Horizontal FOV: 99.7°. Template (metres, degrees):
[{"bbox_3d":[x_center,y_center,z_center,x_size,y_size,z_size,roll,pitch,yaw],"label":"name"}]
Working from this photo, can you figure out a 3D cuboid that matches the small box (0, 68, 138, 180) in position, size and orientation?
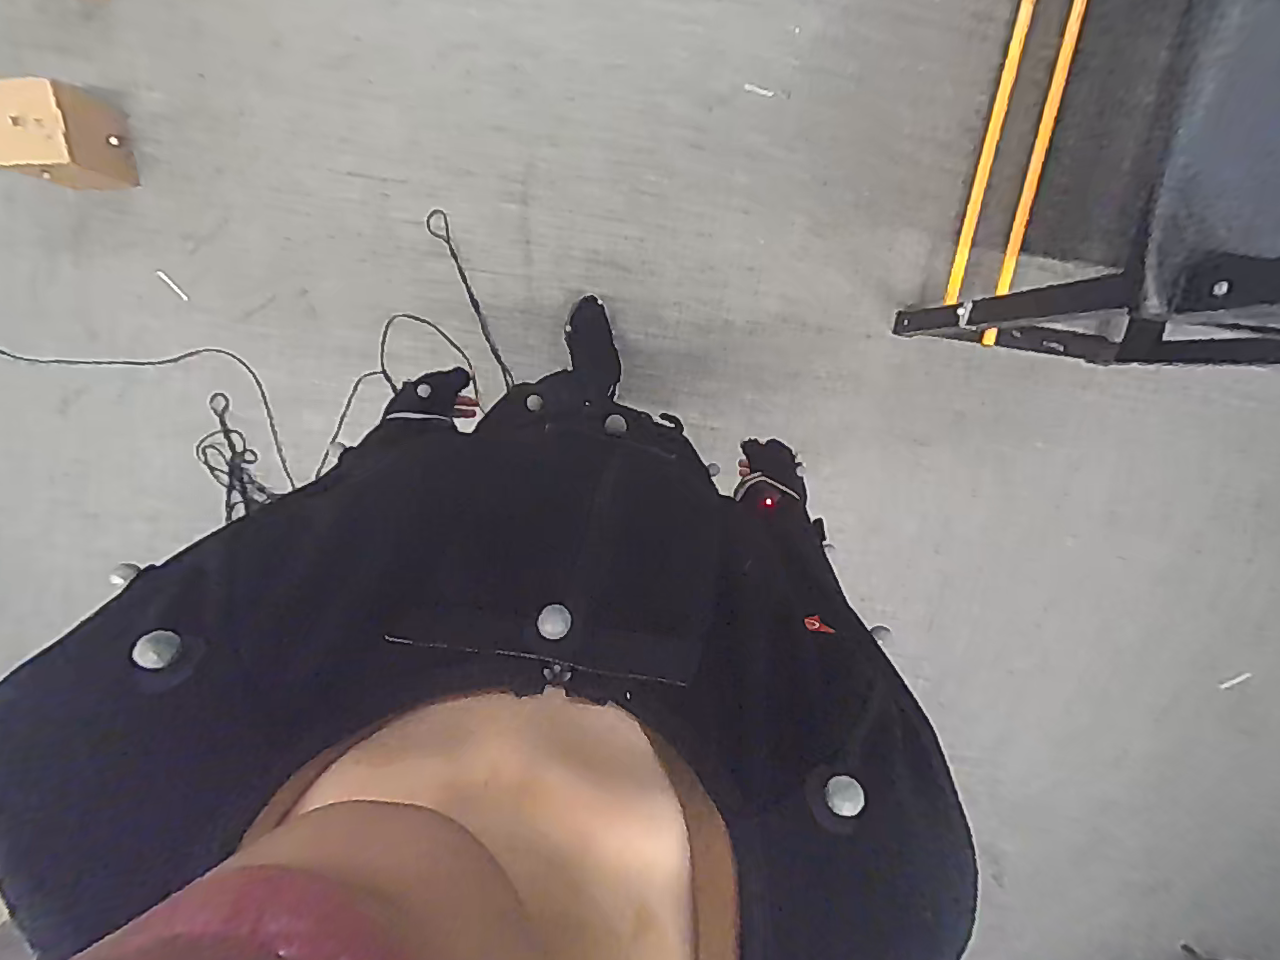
[{"bbox_3d":[-1.308,-0.793,1.220,0.179,0.176,0.168,-2,104,1],"label":"small box"}]
